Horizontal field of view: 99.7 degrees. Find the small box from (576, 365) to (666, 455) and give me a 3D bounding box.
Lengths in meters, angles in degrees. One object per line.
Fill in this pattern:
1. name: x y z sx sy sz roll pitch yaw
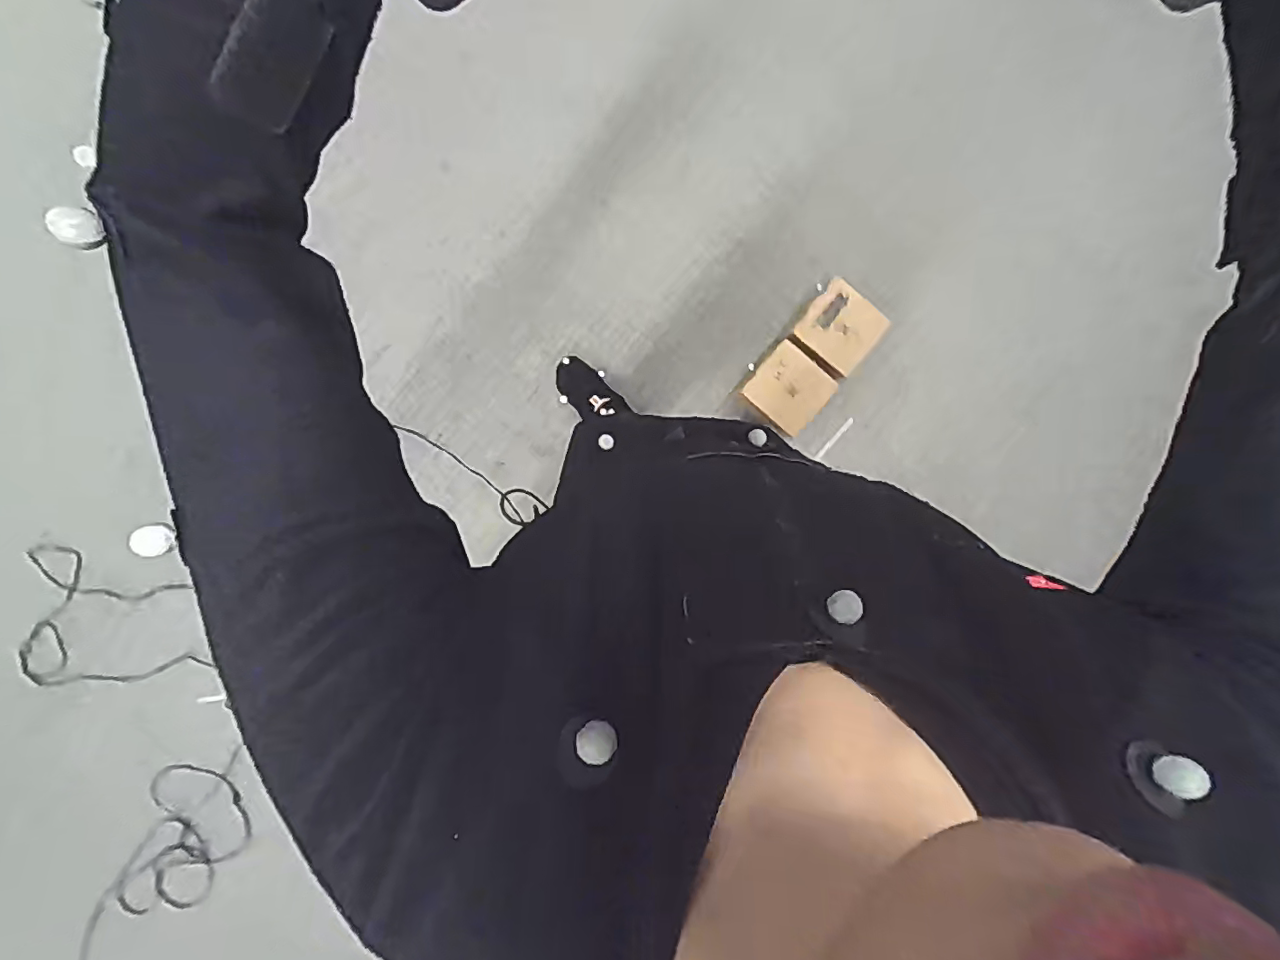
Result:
1. small box: -0.054 -0.181 1.396 0.168 0.176 0.179 -24 100 -9
